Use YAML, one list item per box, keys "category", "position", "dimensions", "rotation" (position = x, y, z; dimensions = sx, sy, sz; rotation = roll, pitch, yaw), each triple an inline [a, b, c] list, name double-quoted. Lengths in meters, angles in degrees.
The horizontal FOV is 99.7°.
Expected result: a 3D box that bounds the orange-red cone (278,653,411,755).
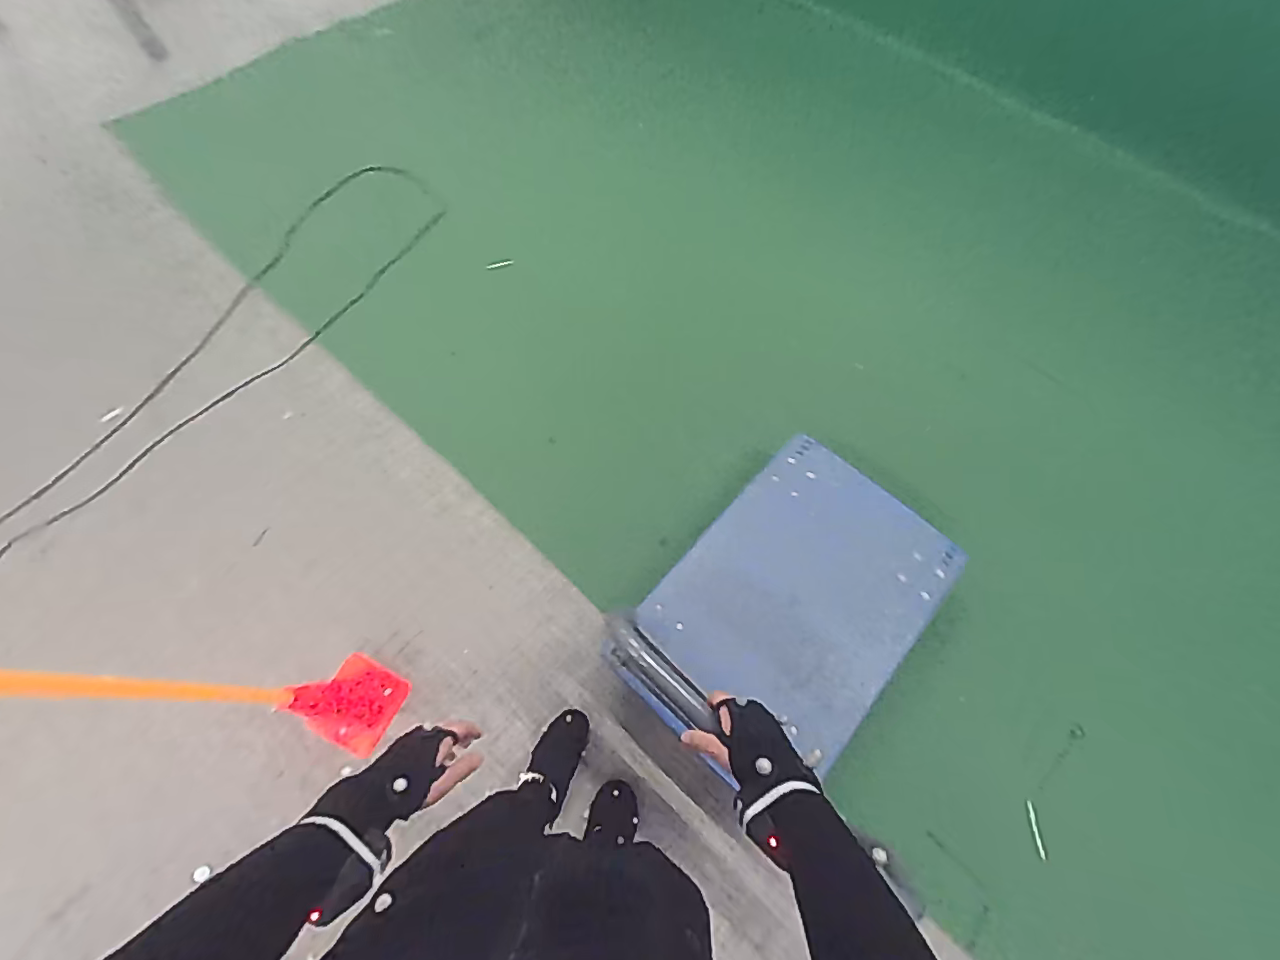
- category: "orange-red cone"
  position: [-0.722, 0.507, 1.255]
  dimensions: [0.199, 0.360, 0.198]
  rotation: [26, 67, 11]
